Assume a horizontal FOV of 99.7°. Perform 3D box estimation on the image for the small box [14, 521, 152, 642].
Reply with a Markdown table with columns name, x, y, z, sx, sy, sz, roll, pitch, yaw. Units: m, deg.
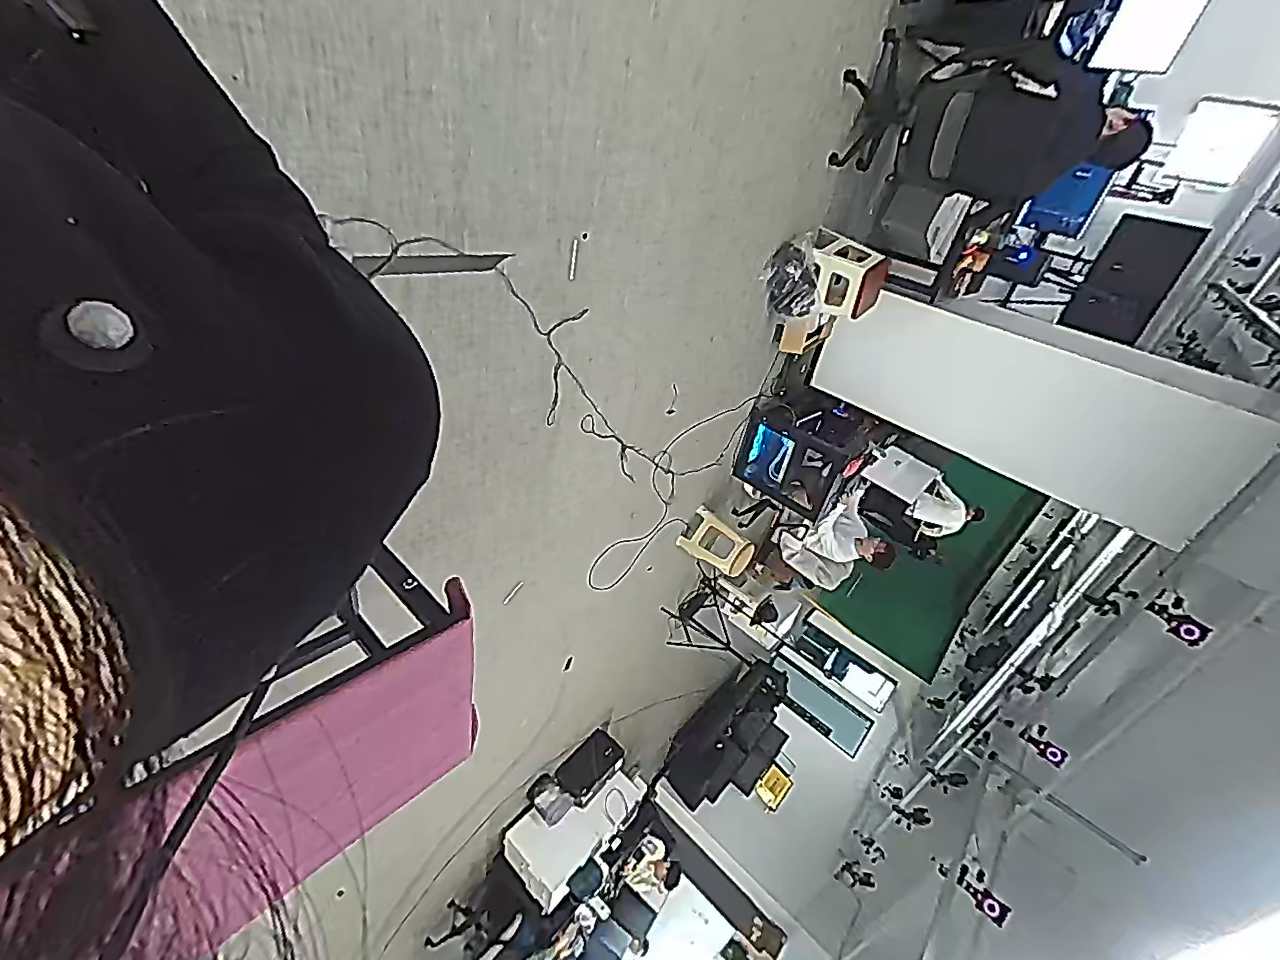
| name | x | y | z | sx | sy | sz | roll | pitch | yaw |
| --- | --- | --- | --- | --- | --- | --- | --- | --- | --- |
| small box | -1.263 | 0.224 | 1.233 | 0.168 | 0.176 | 0.179 | -27 | 139 | -43 |
